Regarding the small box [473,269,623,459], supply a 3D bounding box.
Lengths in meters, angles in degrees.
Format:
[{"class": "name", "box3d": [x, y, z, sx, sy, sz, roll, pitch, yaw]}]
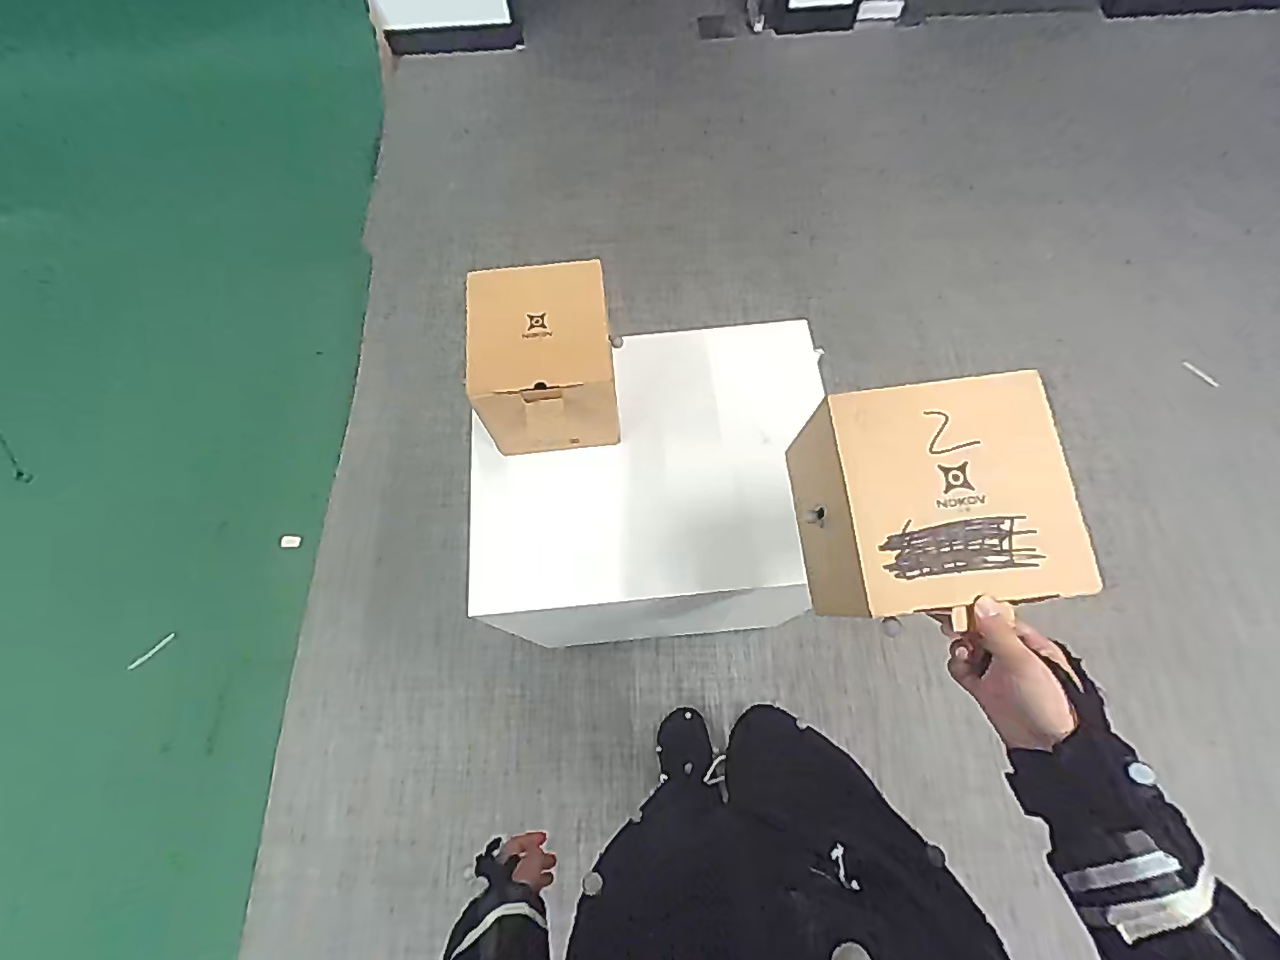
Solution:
[{"class": "small box", "box3d": [-0.112, -0.145, 0.709, 0.168, 0.176, 0.179, -6, 70, -1]}]
